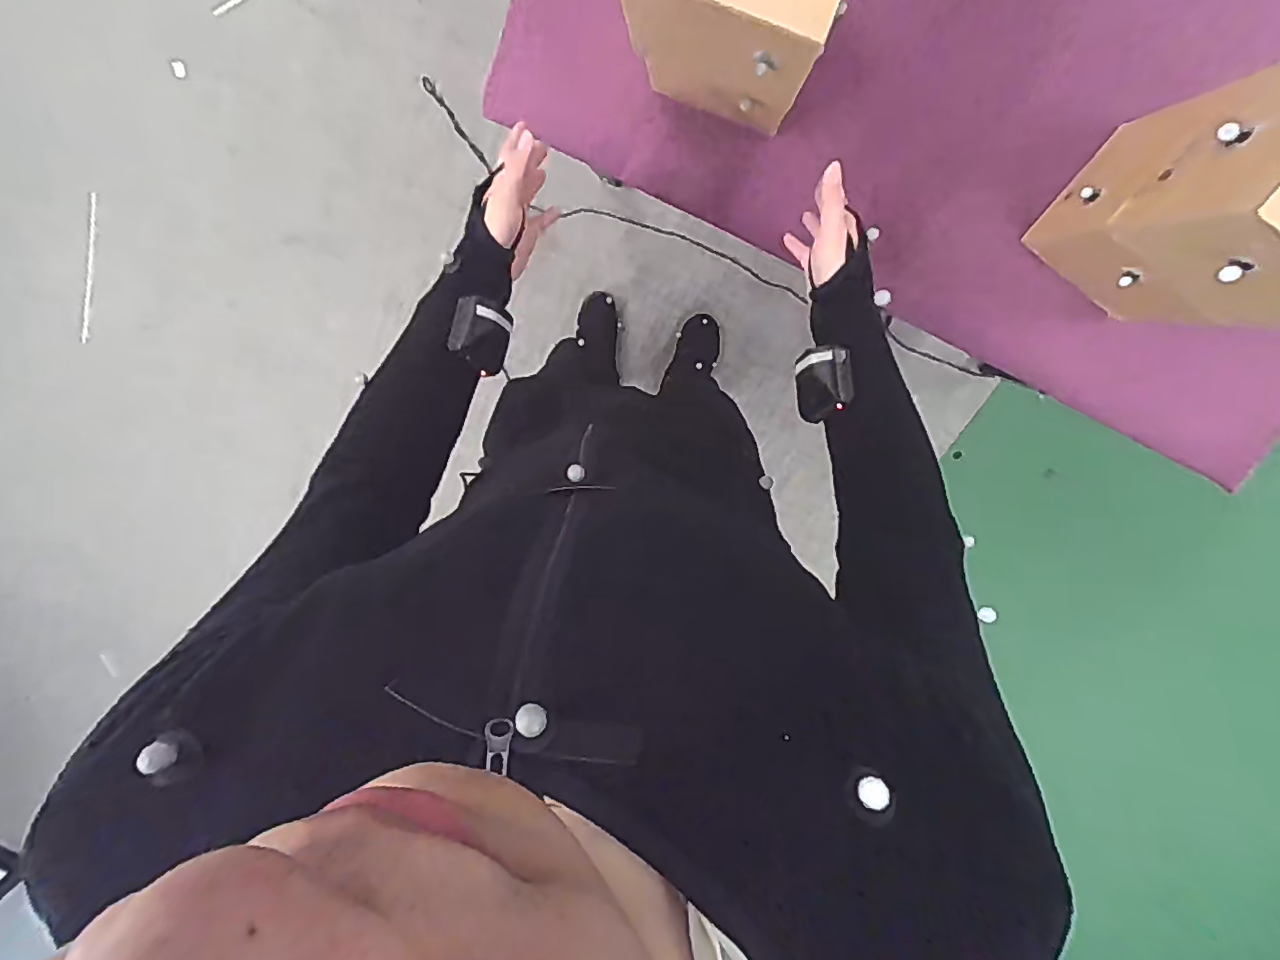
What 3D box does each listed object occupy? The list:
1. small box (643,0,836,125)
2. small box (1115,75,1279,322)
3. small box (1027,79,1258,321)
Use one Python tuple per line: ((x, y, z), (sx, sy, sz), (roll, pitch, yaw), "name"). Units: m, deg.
((0.118, -0.529, 0.604), (0.179, 0.176, 0.168), (21, 110, -2), "small box")
((0.600, -0.252, 0.483), (0.179, 0.176, 0.168), (33, 110, -5), "small box")
((0.616, -0.308, 0.636), (0.179, 0.176, 0.168), (36, 109, -8), "small box")
